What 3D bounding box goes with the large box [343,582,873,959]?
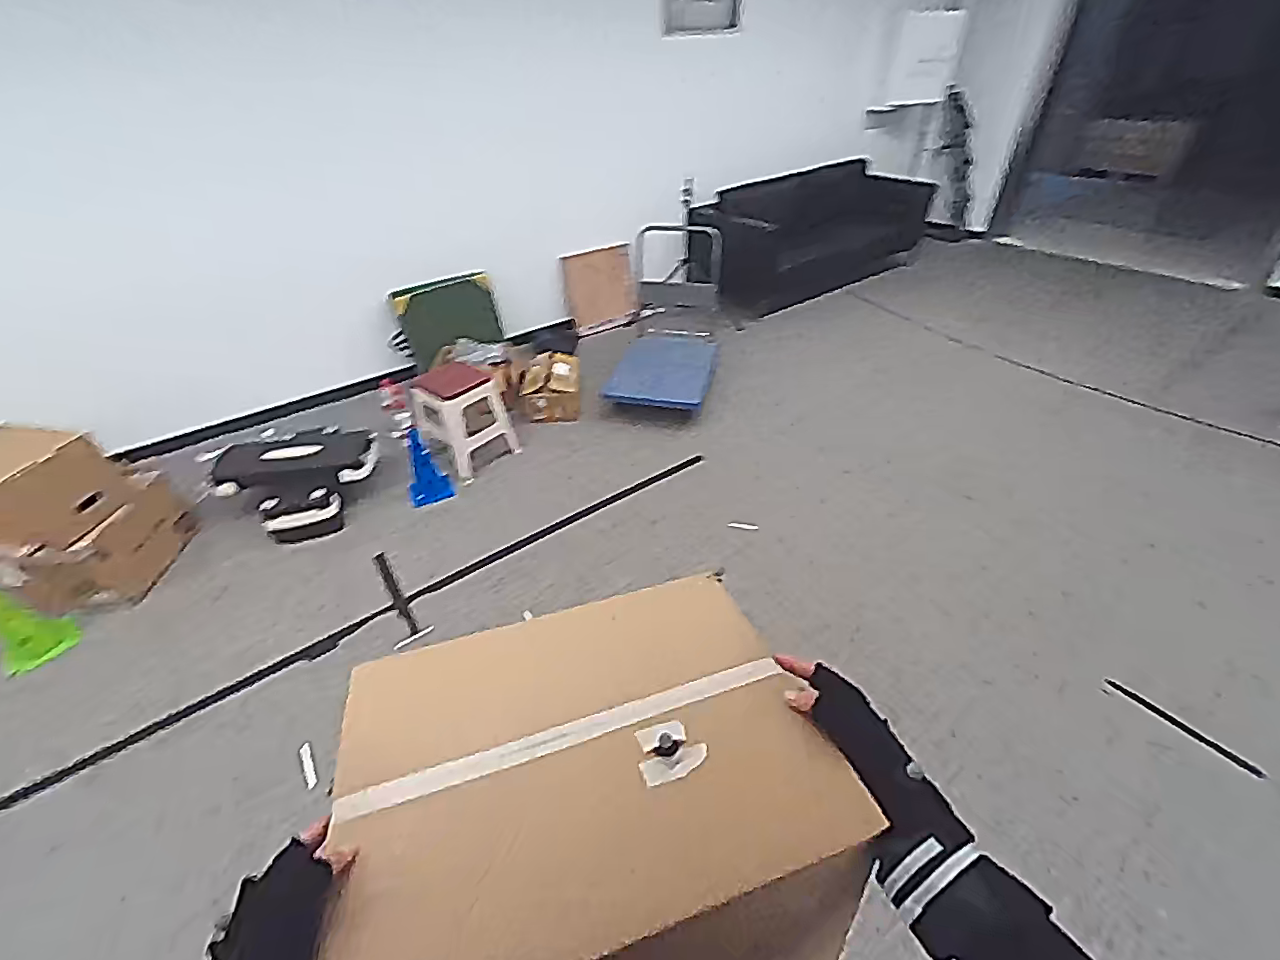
[{"bbox_3d":[-0.042,0.365,0.572,0.408,0.320,0.320,-12,32,-15],"label":"large box"}]
